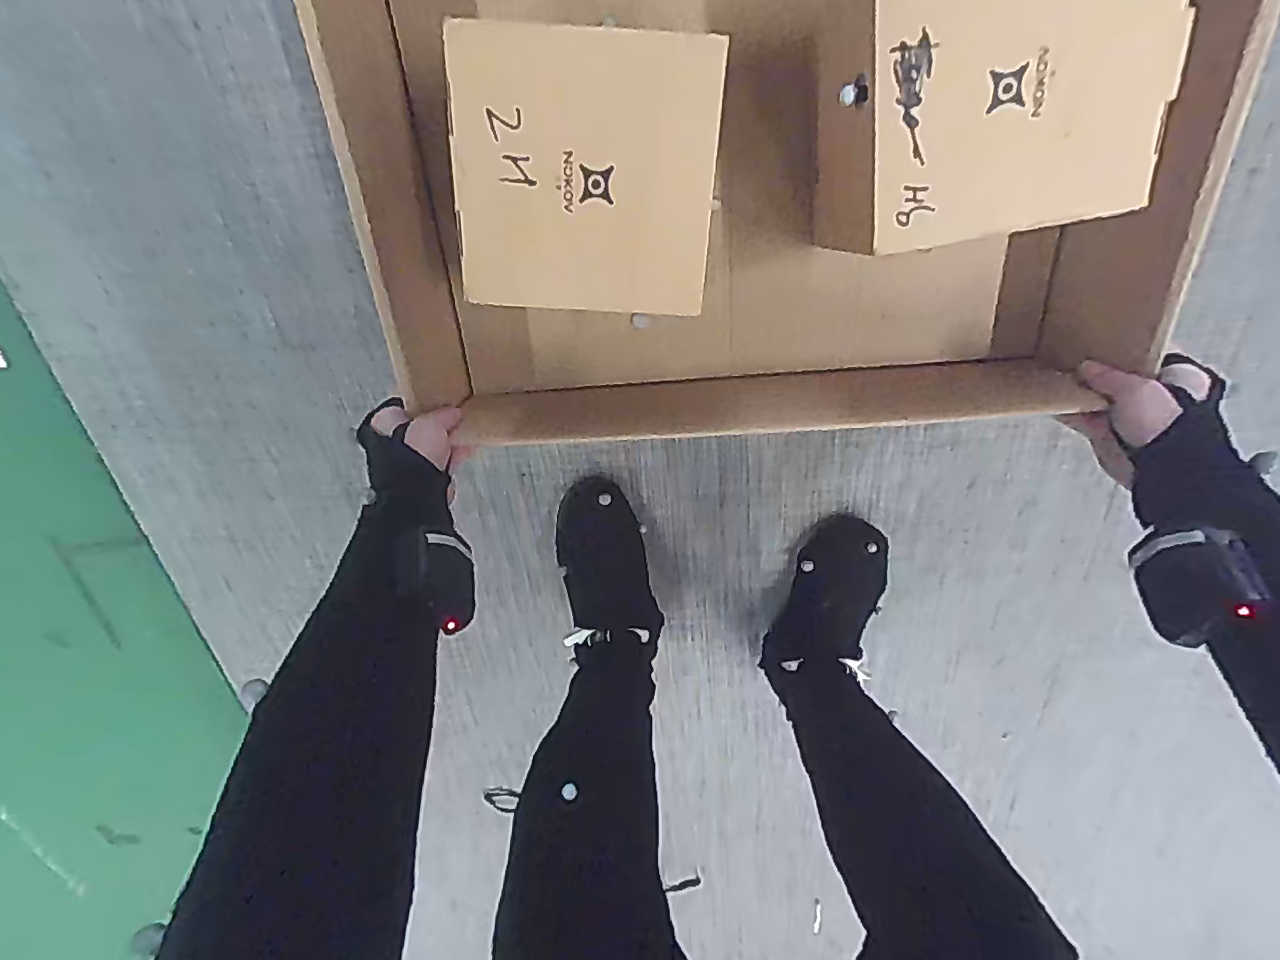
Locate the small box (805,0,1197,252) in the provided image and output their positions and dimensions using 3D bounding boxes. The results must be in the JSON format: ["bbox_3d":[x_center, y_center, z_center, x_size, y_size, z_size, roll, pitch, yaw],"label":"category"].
[{"bbox_3d":[0.229,-0.271,0.388,0.179,0.176,0.168,-8,115,6],"label":"small box"}]
